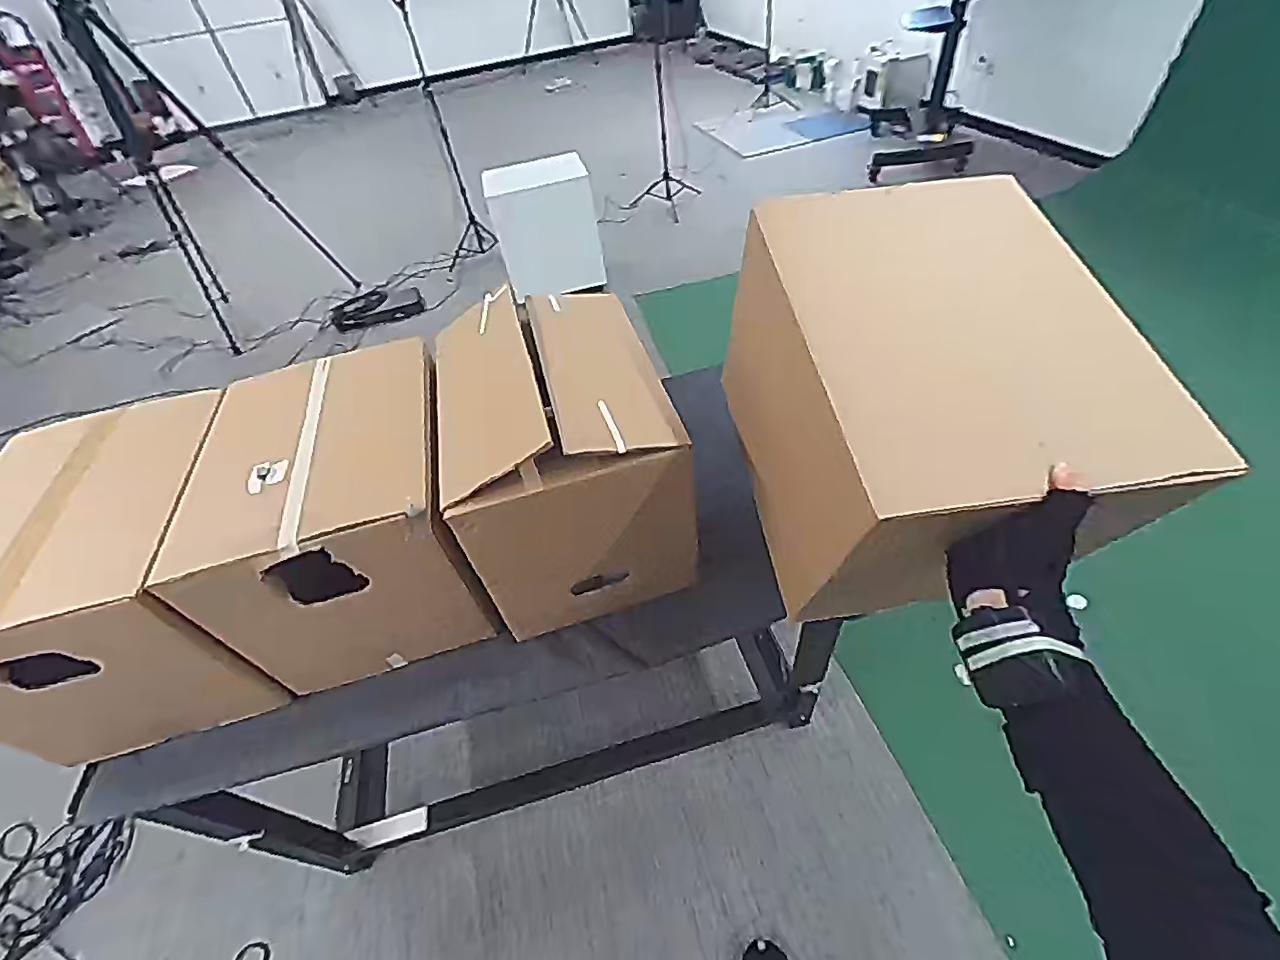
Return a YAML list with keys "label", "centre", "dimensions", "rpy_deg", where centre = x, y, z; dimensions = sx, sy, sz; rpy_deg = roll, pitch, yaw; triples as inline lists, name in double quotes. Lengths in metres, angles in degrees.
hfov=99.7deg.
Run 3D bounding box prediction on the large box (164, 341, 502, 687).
- label: "large box"
  centre: [-0.430, 0.043, 0.859]
  dimensions: [0.320, 0.320, 0.408]
  rpy_deg: [-17, 48, -6]
